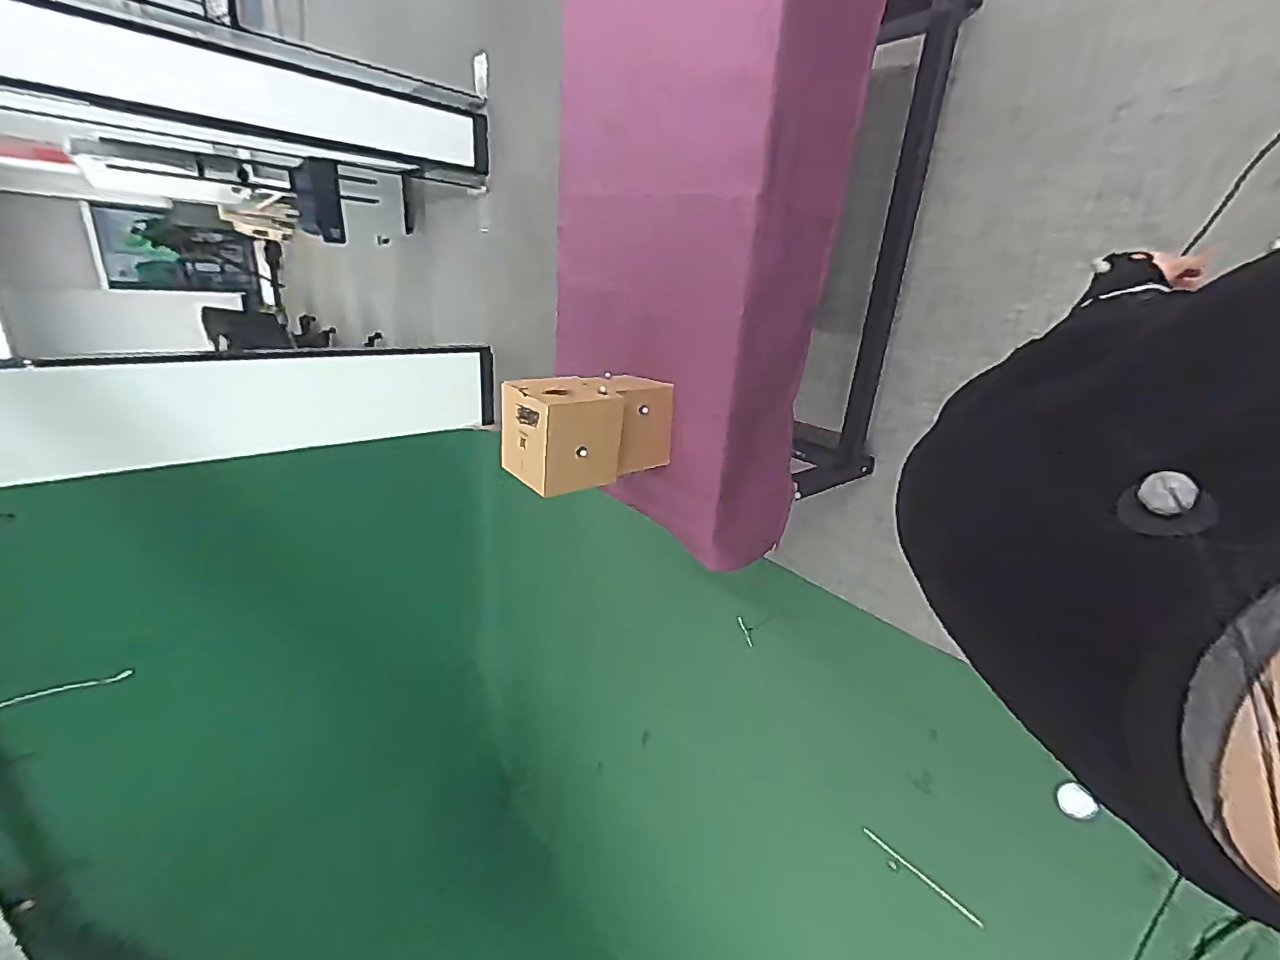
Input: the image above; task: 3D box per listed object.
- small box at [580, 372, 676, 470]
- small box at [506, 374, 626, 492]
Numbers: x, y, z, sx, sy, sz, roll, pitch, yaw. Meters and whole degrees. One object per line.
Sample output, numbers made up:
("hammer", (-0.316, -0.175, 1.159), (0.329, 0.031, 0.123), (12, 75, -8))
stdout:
("small box", (-0.038, -0.136, 1.175), (0.168, 0.176, 0.179), (24, 118, 45))
("small box", (-0.143, -0.101, 1.050), (0.168, 0.176, 0.179), (30, 124, 42))
